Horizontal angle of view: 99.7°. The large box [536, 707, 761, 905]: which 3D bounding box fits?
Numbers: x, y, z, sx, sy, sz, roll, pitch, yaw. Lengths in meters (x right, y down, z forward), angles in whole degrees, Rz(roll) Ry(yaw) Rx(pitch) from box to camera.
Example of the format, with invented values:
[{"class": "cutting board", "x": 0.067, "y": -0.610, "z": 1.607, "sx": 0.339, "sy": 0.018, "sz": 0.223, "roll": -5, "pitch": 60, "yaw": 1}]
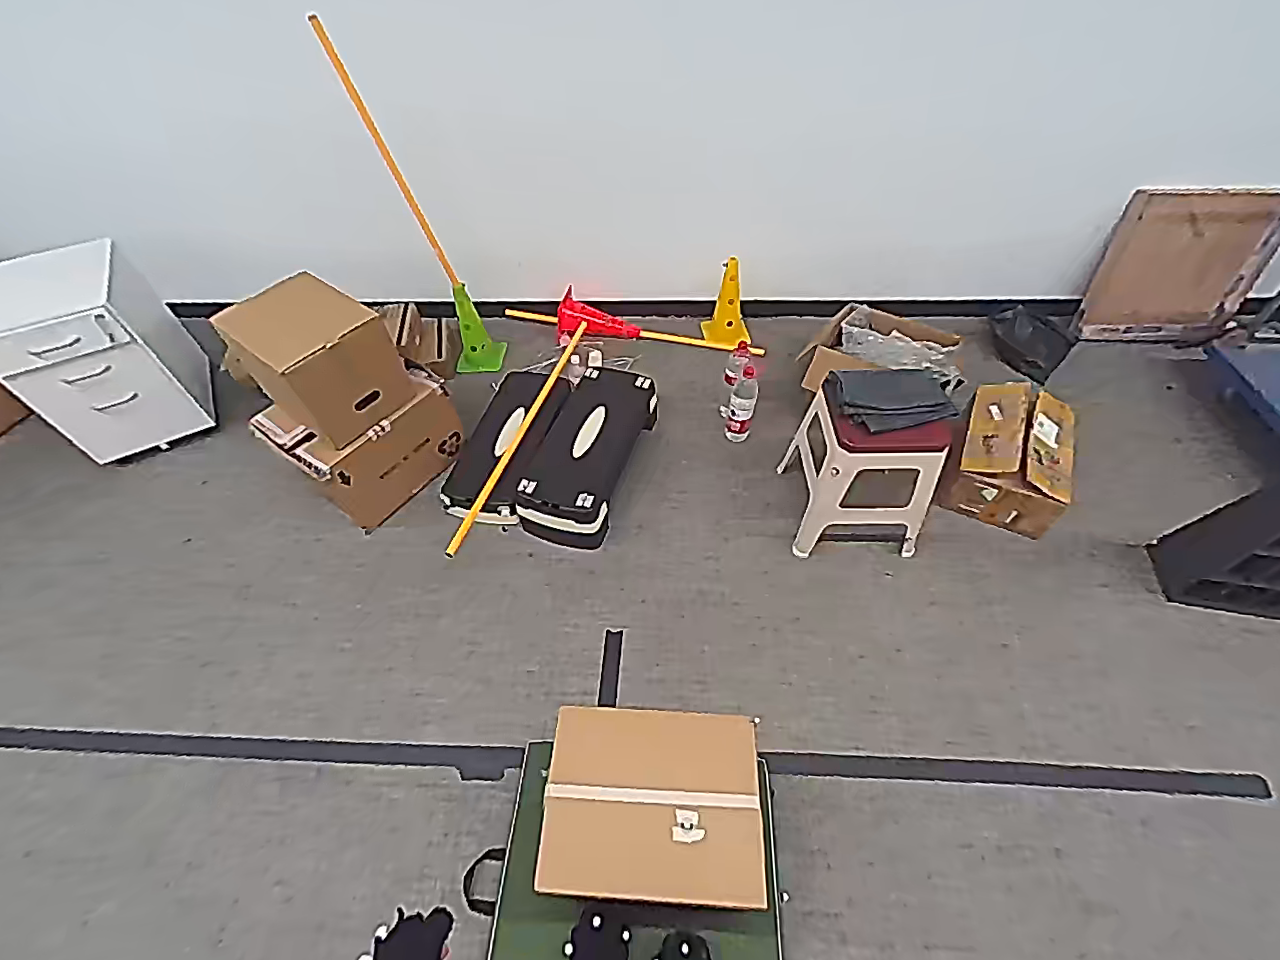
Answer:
[{"class": "large box", "x": 0.019, "y": 0.697, "z": 1.150, "sx": 0.408, "sy": 0.320, "sz": 0.320, "roll": 2, "pitch": 52, "yaw": 2}]
